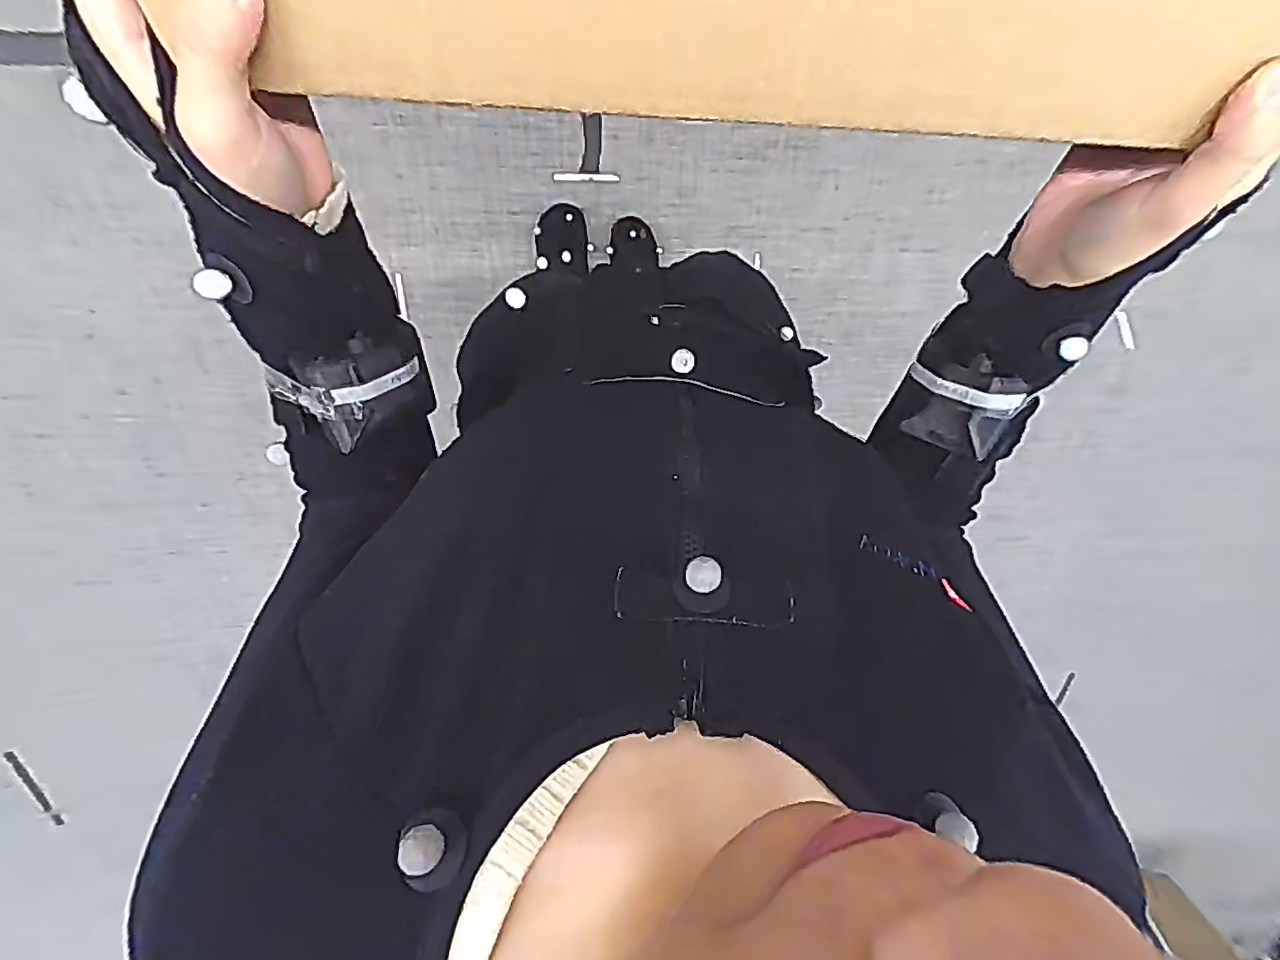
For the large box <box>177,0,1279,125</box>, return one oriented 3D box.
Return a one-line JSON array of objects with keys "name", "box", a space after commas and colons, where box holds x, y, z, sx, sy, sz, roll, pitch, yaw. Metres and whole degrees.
[{"name": "large box", "box": [0.048, -0.350, 0.170, 0.408, 0.320, 0.320, 0, 144, -5]}]
